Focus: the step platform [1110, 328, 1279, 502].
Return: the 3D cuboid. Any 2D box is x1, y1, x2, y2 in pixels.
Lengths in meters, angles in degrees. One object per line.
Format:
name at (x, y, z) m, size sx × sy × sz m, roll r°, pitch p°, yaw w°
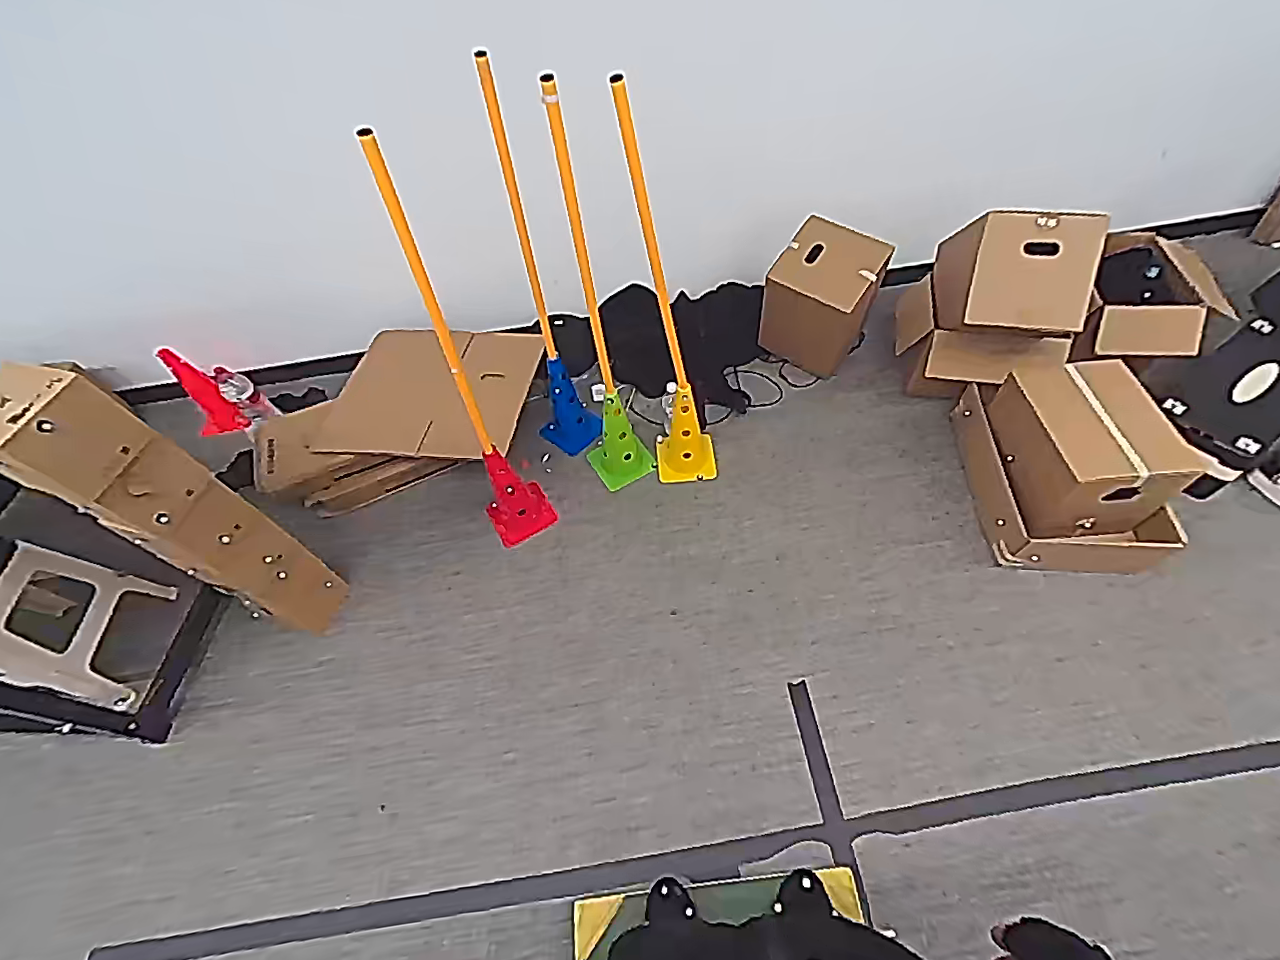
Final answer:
step platform at (1.887, -0.226, 1.750) m, size 0.684 × 0.204 × 0.286 m, roll -33°, pitch 58°, yaw -16°
